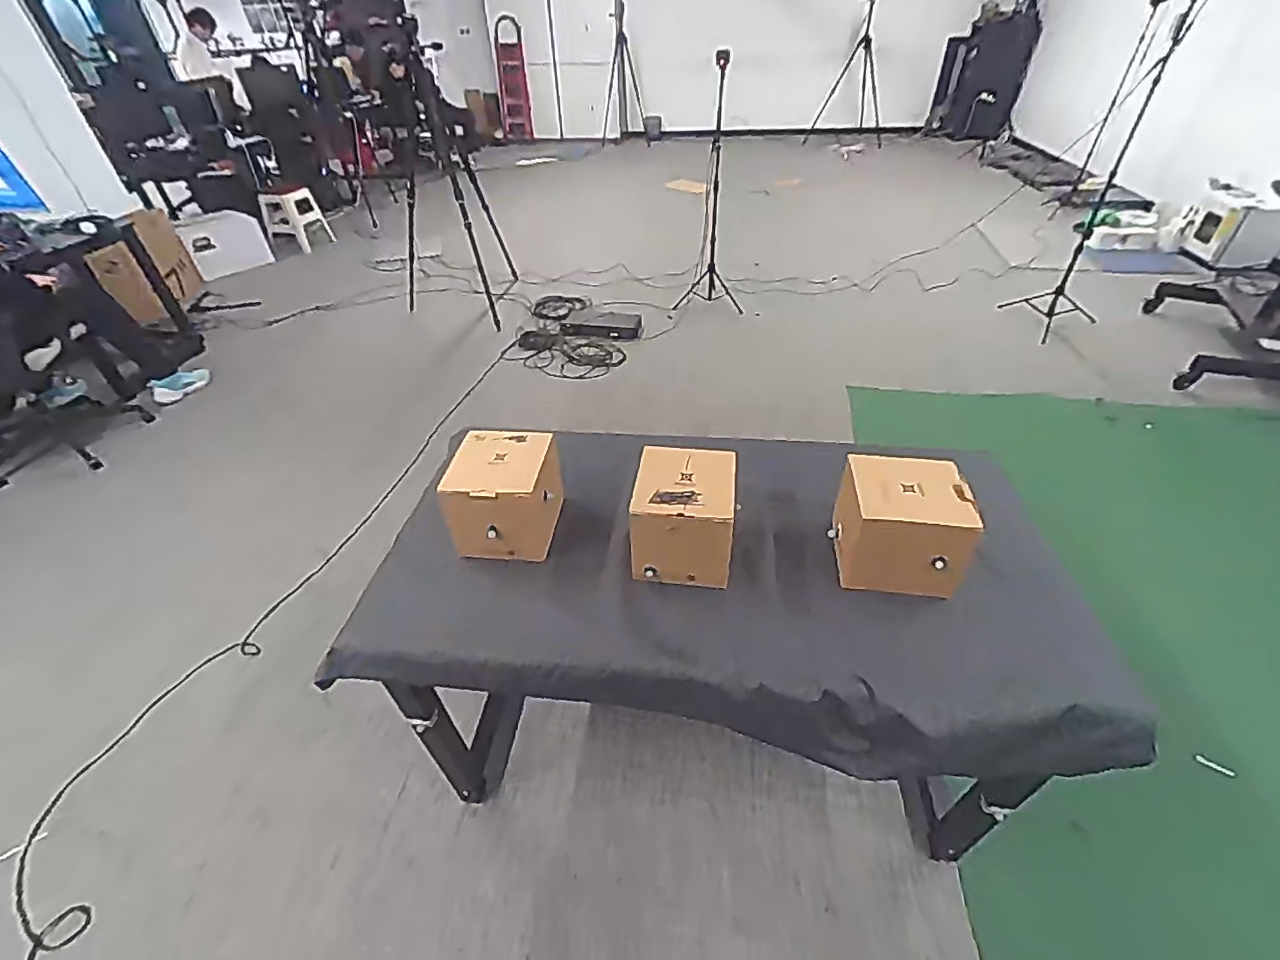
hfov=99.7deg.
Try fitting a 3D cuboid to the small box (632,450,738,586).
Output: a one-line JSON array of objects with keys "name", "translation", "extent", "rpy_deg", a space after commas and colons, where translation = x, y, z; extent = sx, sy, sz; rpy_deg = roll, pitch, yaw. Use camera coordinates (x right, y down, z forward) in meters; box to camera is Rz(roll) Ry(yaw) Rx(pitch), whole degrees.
[{"name": "small box", "translation": [0.084, 0.067, 0.960], "extent": [0.168, 0.176, 0.179], "rpy_deg": [4, 40, 8]}]

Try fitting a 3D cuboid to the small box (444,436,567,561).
[{"name": "small box", "translation": [-0.240, 0.035, 1.020], "extent": [0.168, 0.176, 0.179], "rpy_deg": [2, 41, 6]}]

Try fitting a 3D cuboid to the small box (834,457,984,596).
[{"name": "small box", "translation": [0.443, 0.080, 0.923], "extent": [0.179, 0.176, 0.168], "rpy_deg": [2, 39, 10]}]
